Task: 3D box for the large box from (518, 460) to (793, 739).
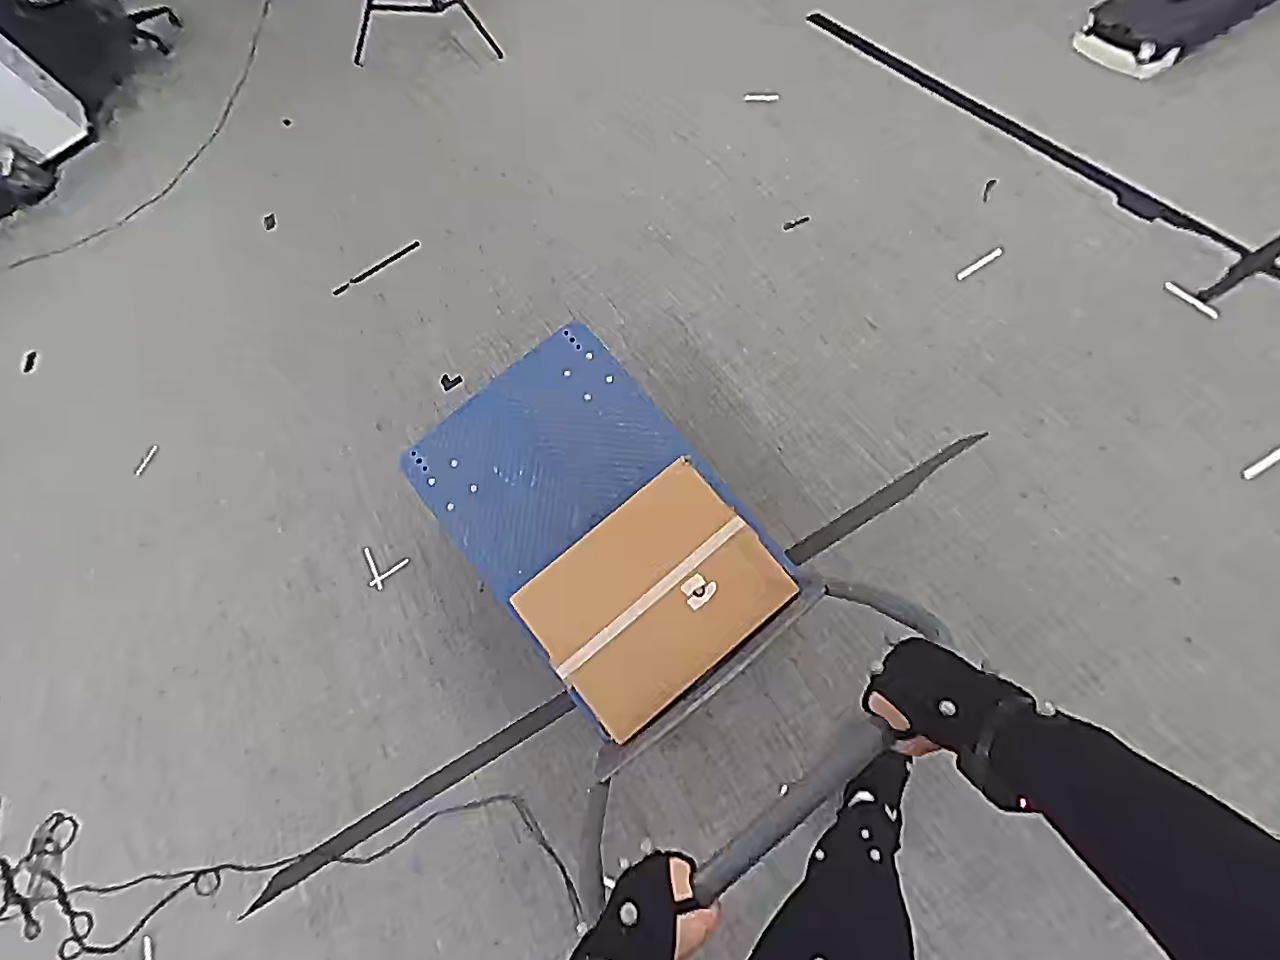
[{"bbox_3d":[0.031,0.230,1.102,0.408,0.320,0.320,-40,81,-5],"label":"large box"}]
